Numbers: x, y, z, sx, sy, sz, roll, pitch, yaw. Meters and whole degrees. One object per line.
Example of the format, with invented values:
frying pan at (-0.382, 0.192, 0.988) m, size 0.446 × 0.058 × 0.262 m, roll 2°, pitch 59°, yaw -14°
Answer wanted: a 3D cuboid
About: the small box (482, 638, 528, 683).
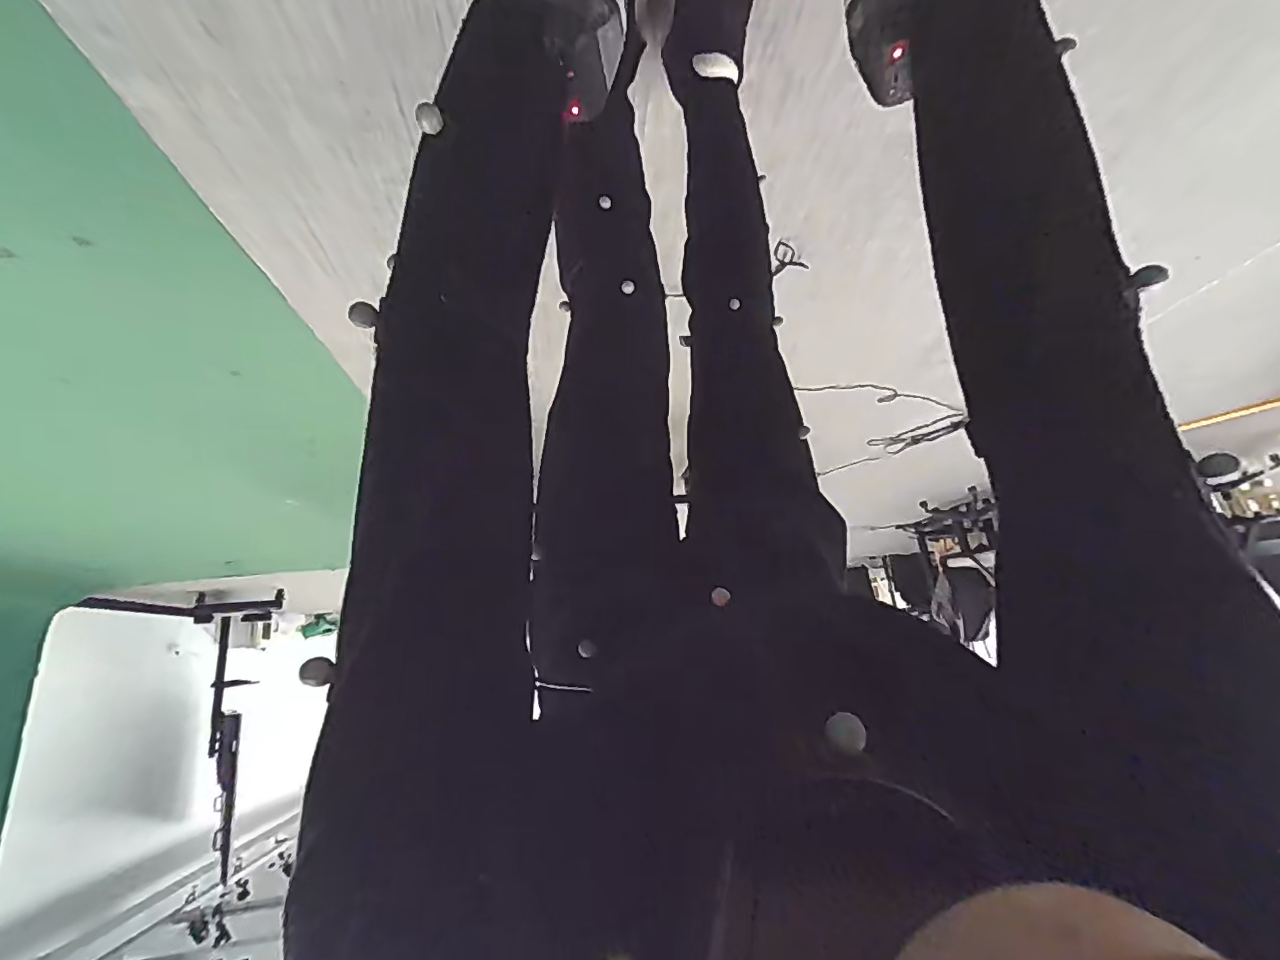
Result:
small box at (-0.585, 0.784, 2.350) m, size 0.168 × 0.176 × 0.179 m, roll -6°, pitch 161°, yaw -5°
